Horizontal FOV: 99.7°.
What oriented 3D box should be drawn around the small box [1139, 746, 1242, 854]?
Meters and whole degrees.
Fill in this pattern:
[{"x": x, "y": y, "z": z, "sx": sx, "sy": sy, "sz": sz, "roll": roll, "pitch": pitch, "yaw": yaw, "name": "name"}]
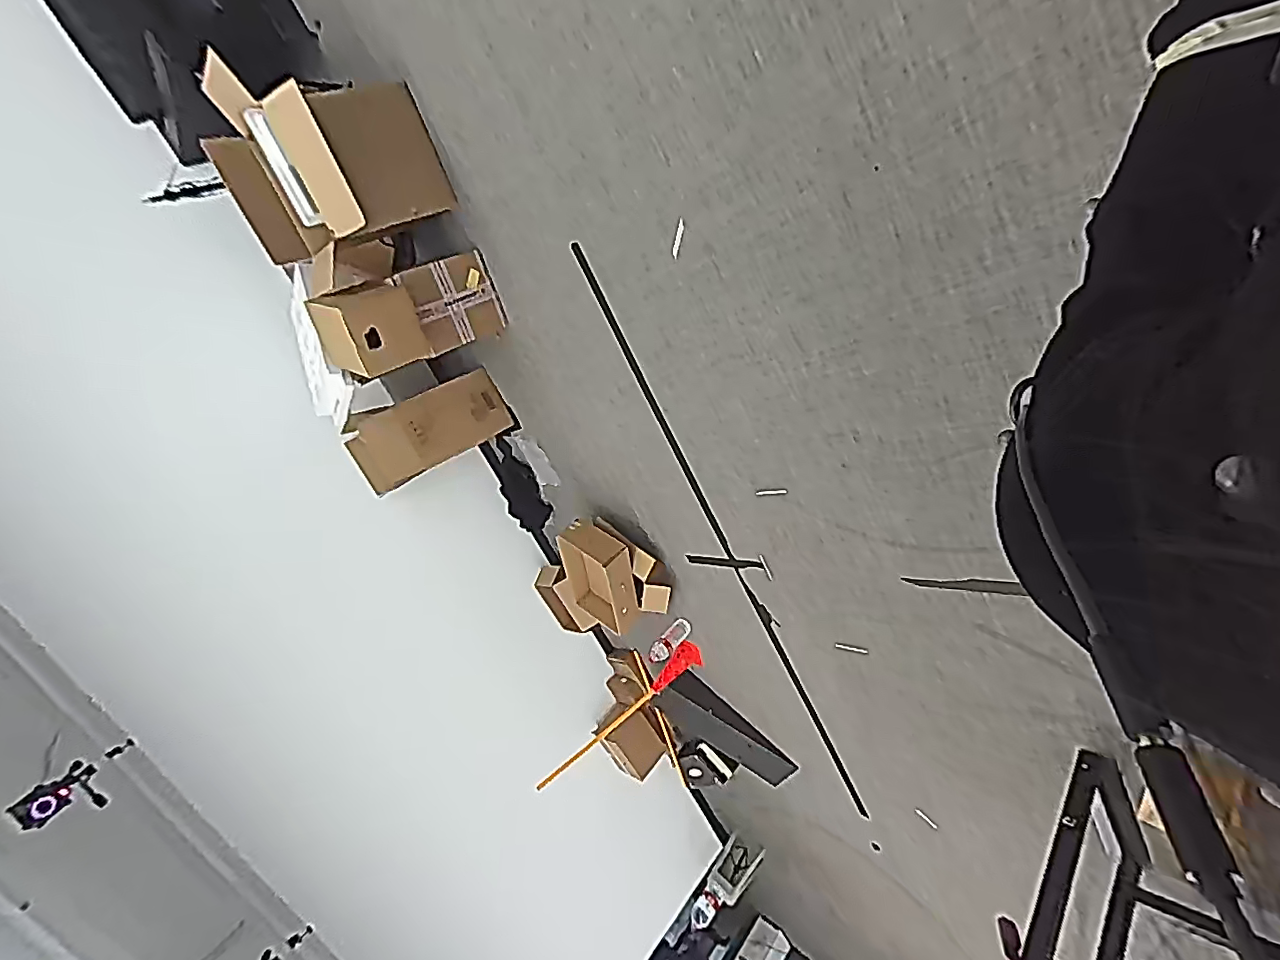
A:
[{"x": 1.565, "y": 0.897, "z": 1.538, "sx": 0.179, "sy": 0.176, "sz": 0.168, "roll": 14, "pitch": 131, "yaw": 43, "name": "small box"}]
